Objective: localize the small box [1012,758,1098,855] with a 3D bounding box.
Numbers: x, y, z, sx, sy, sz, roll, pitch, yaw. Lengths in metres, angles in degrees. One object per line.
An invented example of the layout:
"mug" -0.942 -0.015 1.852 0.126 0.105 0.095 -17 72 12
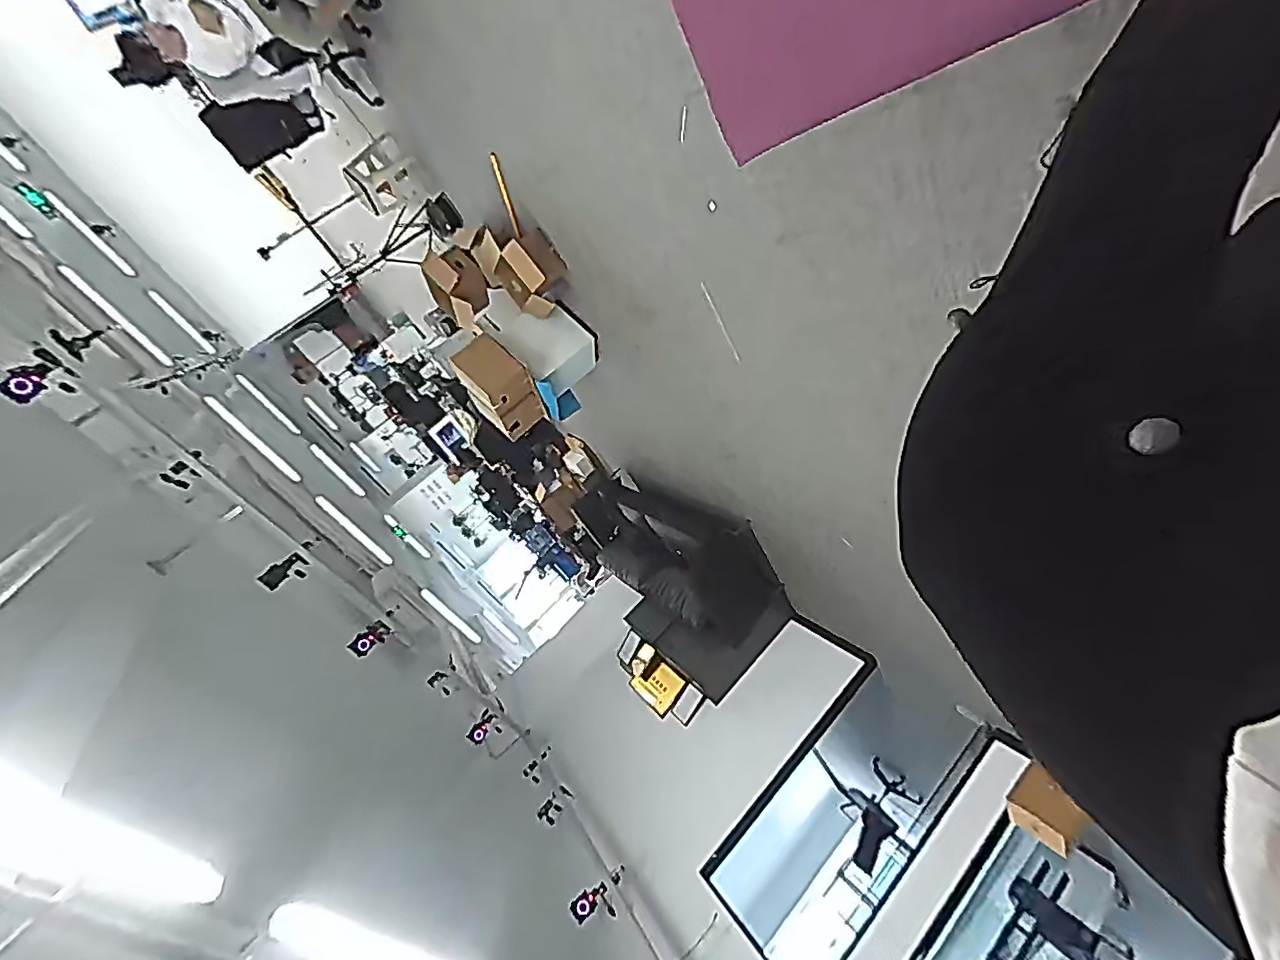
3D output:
"small box" 1.323 1.035 1.721 0.168 0.176 0.179 25 151 54
